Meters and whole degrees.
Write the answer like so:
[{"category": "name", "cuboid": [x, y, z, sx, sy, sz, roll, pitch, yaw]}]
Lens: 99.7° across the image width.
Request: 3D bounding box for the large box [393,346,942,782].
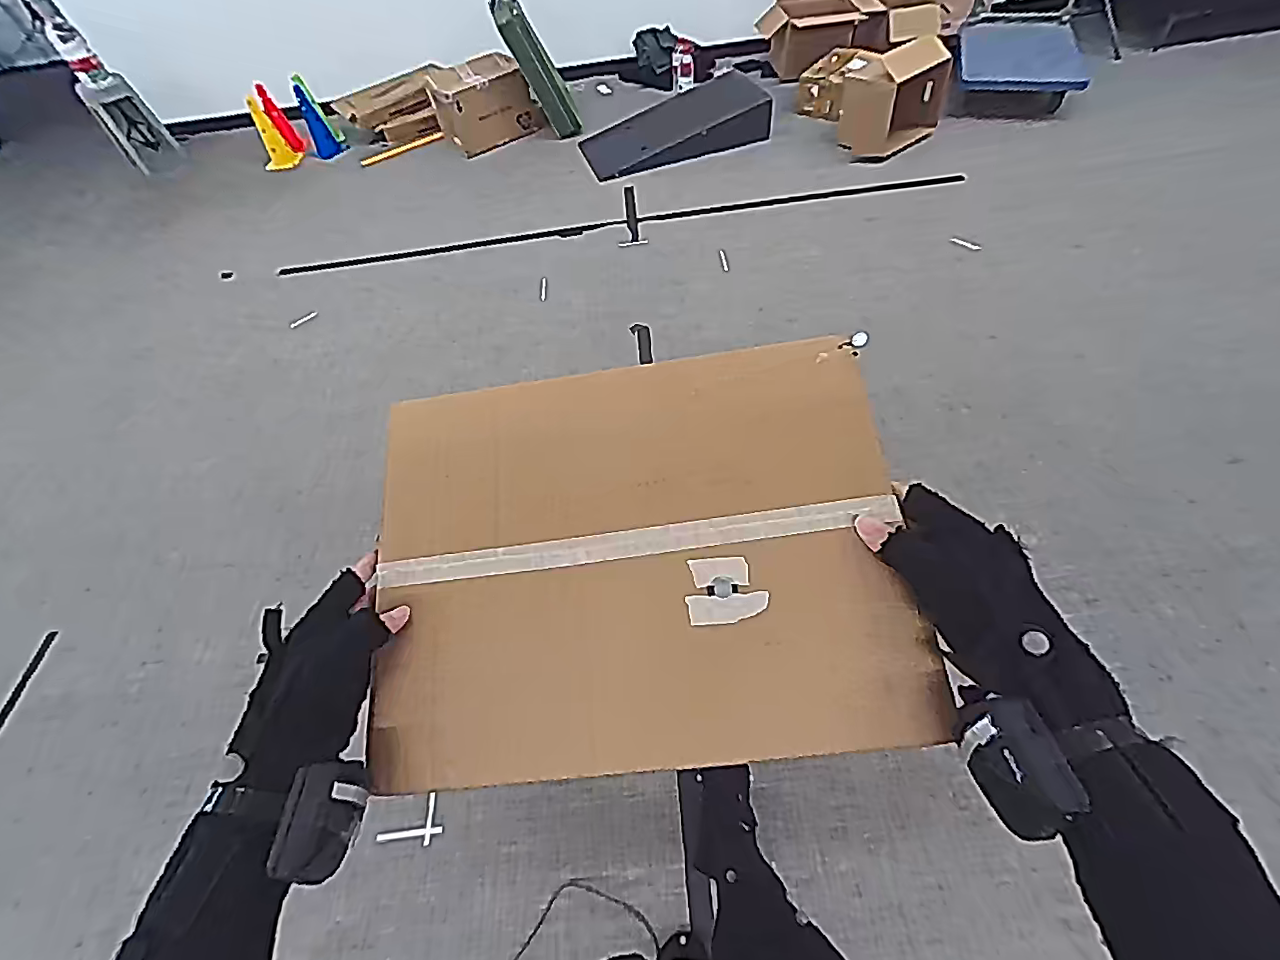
[{"category": "large box", "cuboid": [0.013, 0.104, 0.574, 0.408, 0.320, 0.320, -8, 69, 4]}]
